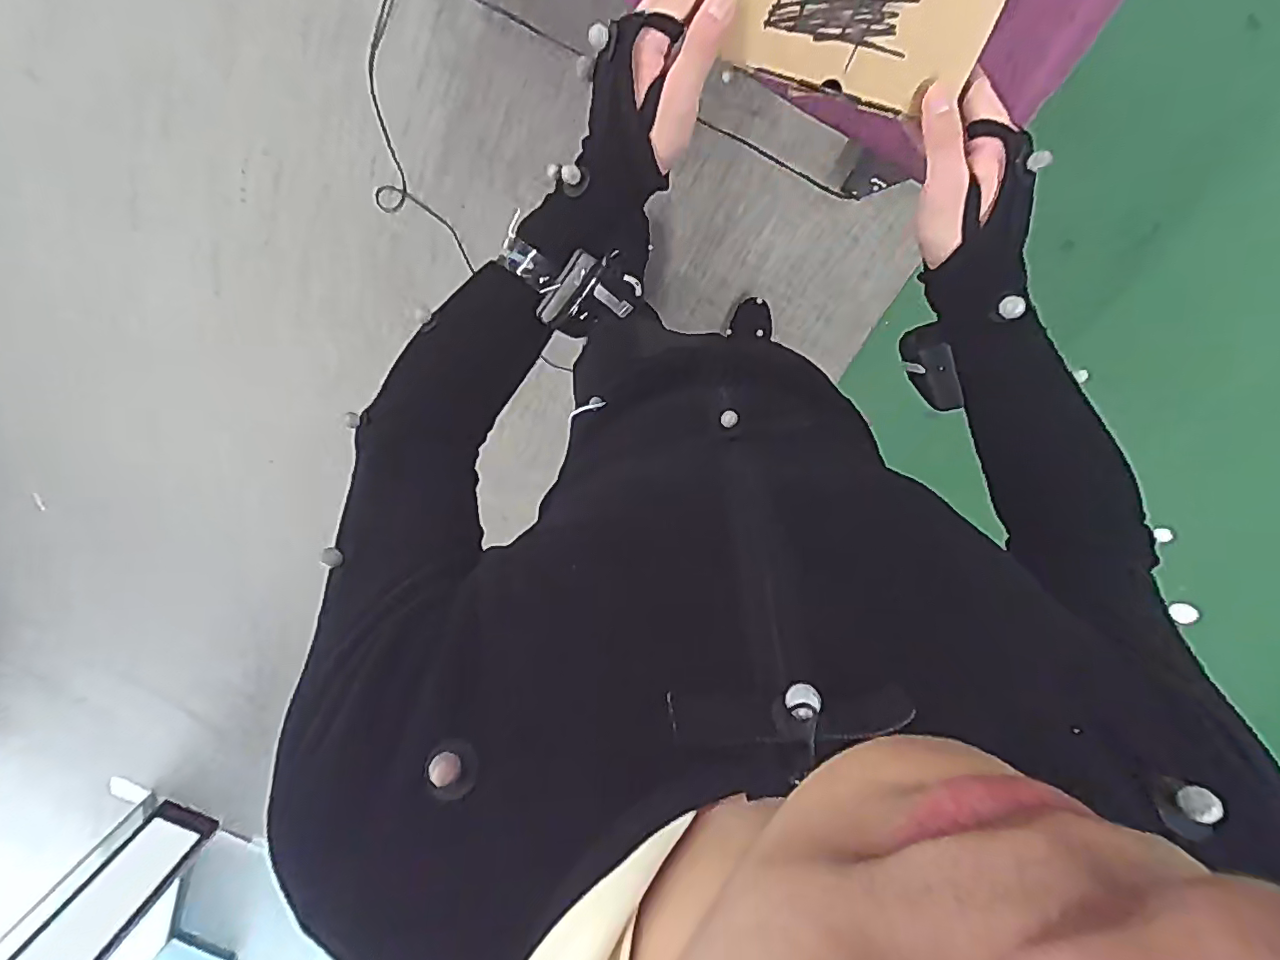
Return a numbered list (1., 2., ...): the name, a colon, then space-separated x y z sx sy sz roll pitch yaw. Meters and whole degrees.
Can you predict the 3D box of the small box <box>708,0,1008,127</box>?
1. small box: 0.148 -0.367 0.361 0.168 0.176 0.179 12 128 -8
